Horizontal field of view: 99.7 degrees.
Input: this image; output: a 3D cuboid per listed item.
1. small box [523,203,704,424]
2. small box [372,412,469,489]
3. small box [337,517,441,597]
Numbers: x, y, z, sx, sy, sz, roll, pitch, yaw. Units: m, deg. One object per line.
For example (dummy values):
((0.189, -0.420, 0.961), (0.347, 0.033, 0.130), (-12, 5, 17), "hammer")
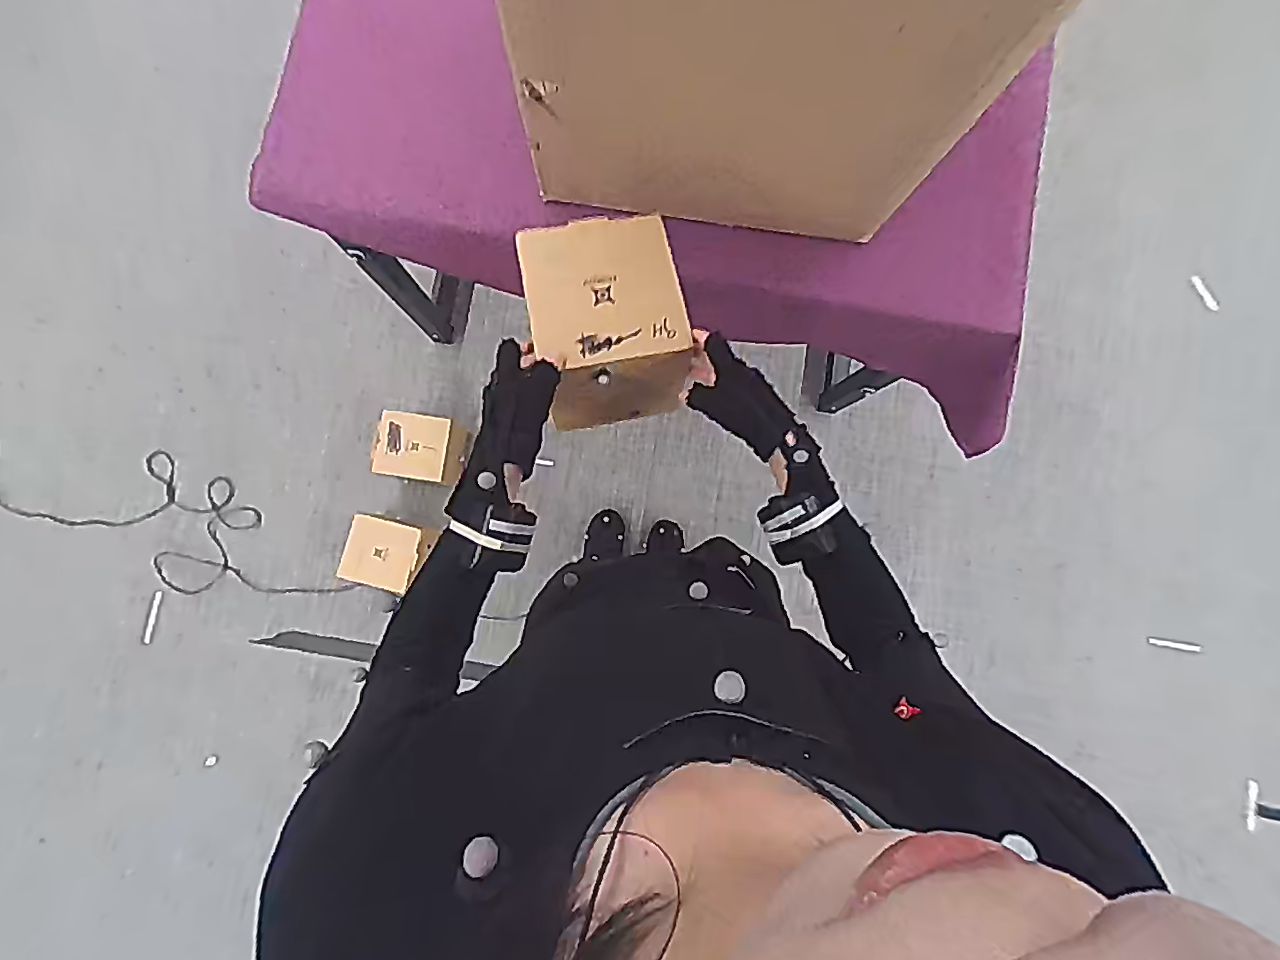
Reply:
((-0.035, -0.185, 0.634), (0.168, 0.176, 0.179), (-10, 75, -5), "small box")
((-0.576, -0.072, 1.436), (0.179, 0.176, 0.168), (8, 85, -2), "small box")
((-0.643, 0.197, 1.411), (0.179, 0.176, 0.168), (14, 83, 0), "small box")
